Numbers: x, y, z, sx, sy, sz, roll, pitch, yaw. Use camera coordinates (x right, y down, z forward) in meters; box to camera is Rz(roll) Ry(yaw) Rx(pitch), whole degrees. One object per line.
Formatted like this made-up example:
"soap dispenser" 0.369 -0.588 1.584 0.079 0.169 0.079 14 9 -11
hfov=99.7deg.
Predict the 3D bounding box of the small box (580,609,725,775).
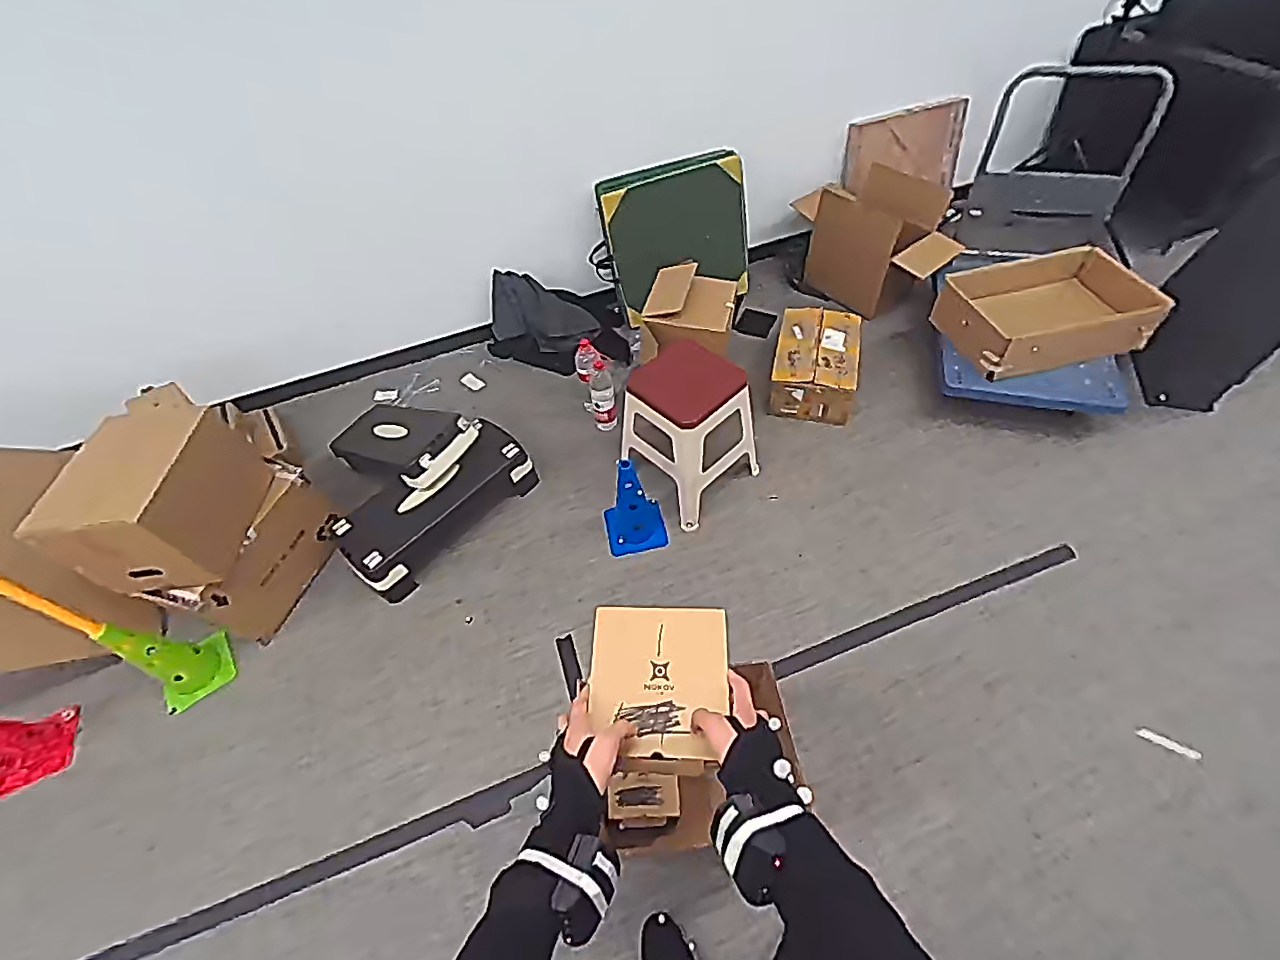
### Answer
"small box" 0.023 0.281 0.708 0.168 0.176 0.179 1 58 4
